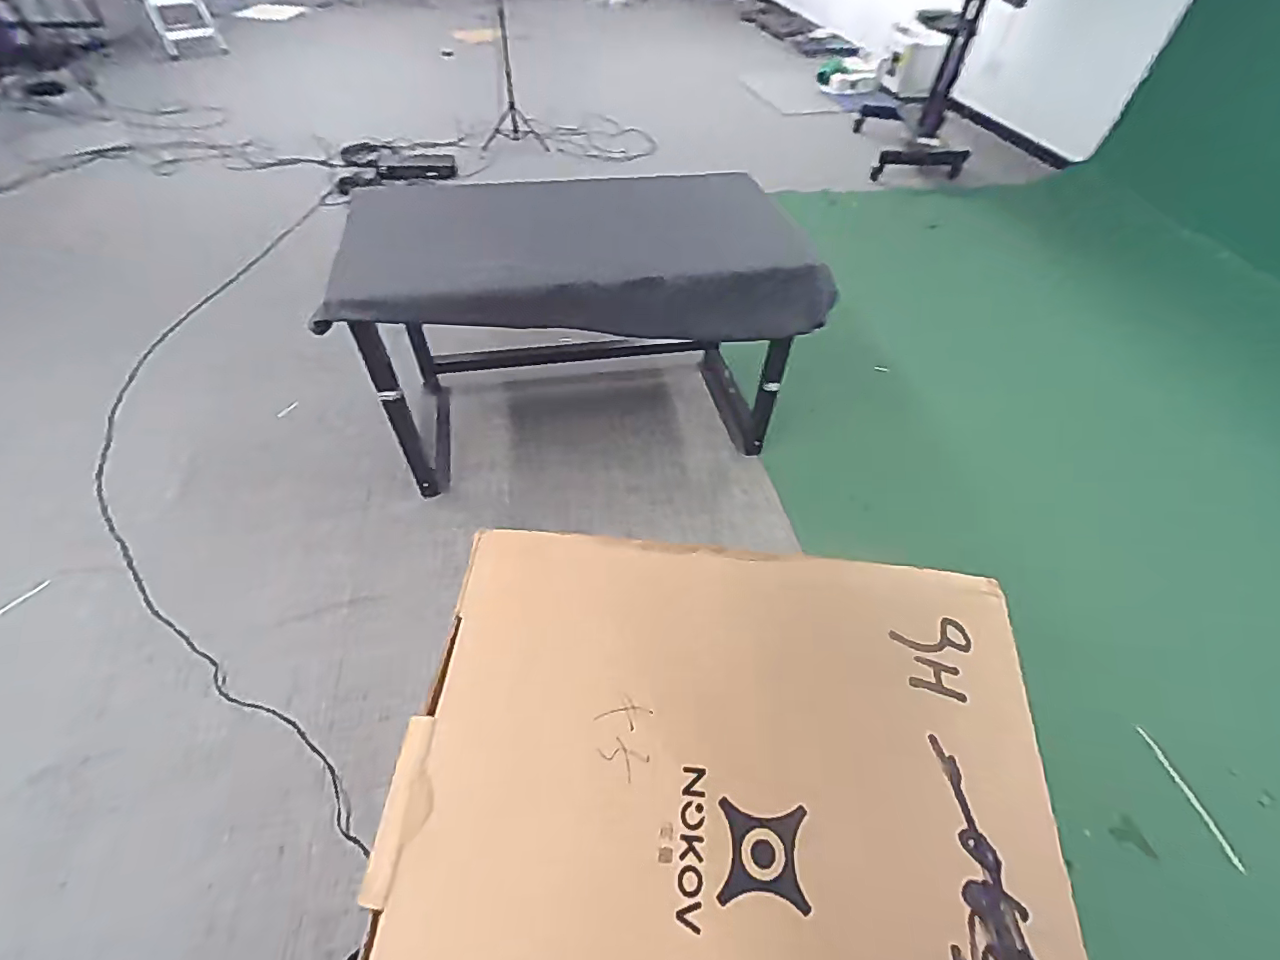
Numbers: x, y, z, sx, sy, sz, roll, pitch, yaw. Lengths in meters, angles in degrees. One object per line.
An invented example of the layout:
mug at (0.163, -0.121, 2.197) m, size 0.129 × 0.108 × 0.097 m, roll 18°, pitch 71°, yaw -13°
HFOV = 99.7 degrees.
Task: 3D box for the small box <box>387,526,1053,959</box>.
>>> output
small box at (0.022, 0.132, 0.229) m, size 0.179 × 0.176 × 0.168 m, roll 4°, pitch 59°, yaw 0°
